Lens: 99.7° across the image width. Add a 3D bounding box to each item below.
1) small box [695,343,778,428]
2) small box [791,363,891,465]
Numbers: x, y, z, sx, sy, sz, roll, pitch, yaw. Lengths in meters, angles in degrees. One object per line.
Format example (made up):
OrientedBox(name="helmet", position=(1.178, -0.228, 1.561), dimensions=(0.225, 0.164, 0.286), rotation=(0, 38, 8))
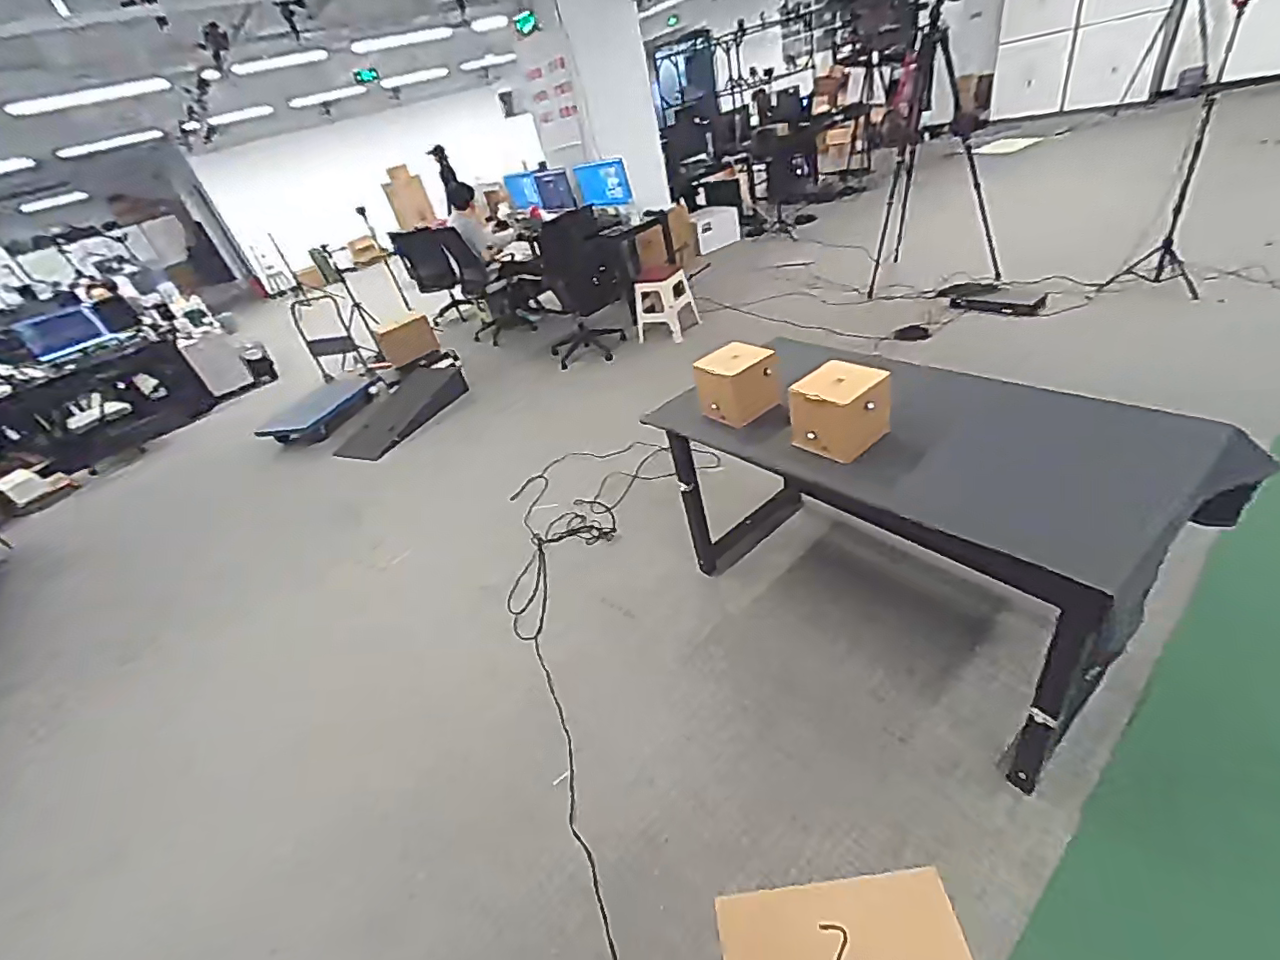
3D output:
OrientedBox(name="small box", position=(0.284, -0.278, 1.579), dimensions=(0.179, 0.176, 0.168), rotation=(-31, 37, -23))
OrientedBox(name="small box", position=(0.497, -0.167, 1.350), dimensions=(0.179, 0.176, 0.168), rotation=(-32, 38, -24))
